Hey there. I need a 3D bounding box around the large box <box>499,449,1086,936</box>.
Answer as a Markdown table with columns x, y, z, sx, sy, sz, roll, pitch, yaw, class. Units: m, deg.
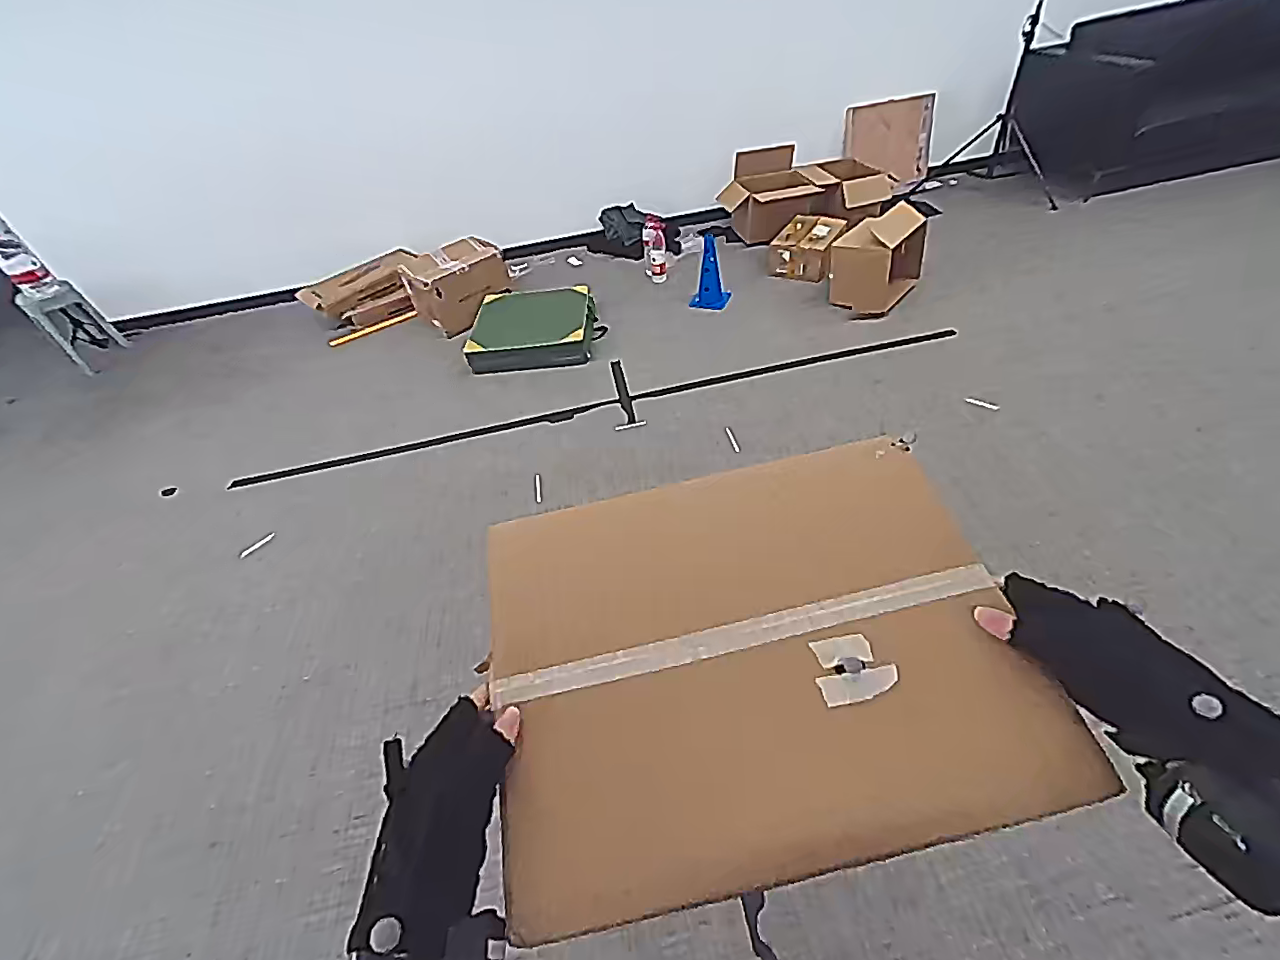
| x | y | z | sx | sy | sz | roll | pitch | yaw | class |
| --- | --- | --- | --- | --- | --- | --- | --- | --- | --- |
| 0.099 | 0.219 | 0.568 | 0.408 | 0.320 | 0.320 | -13 | 55 | -2 | large box |
